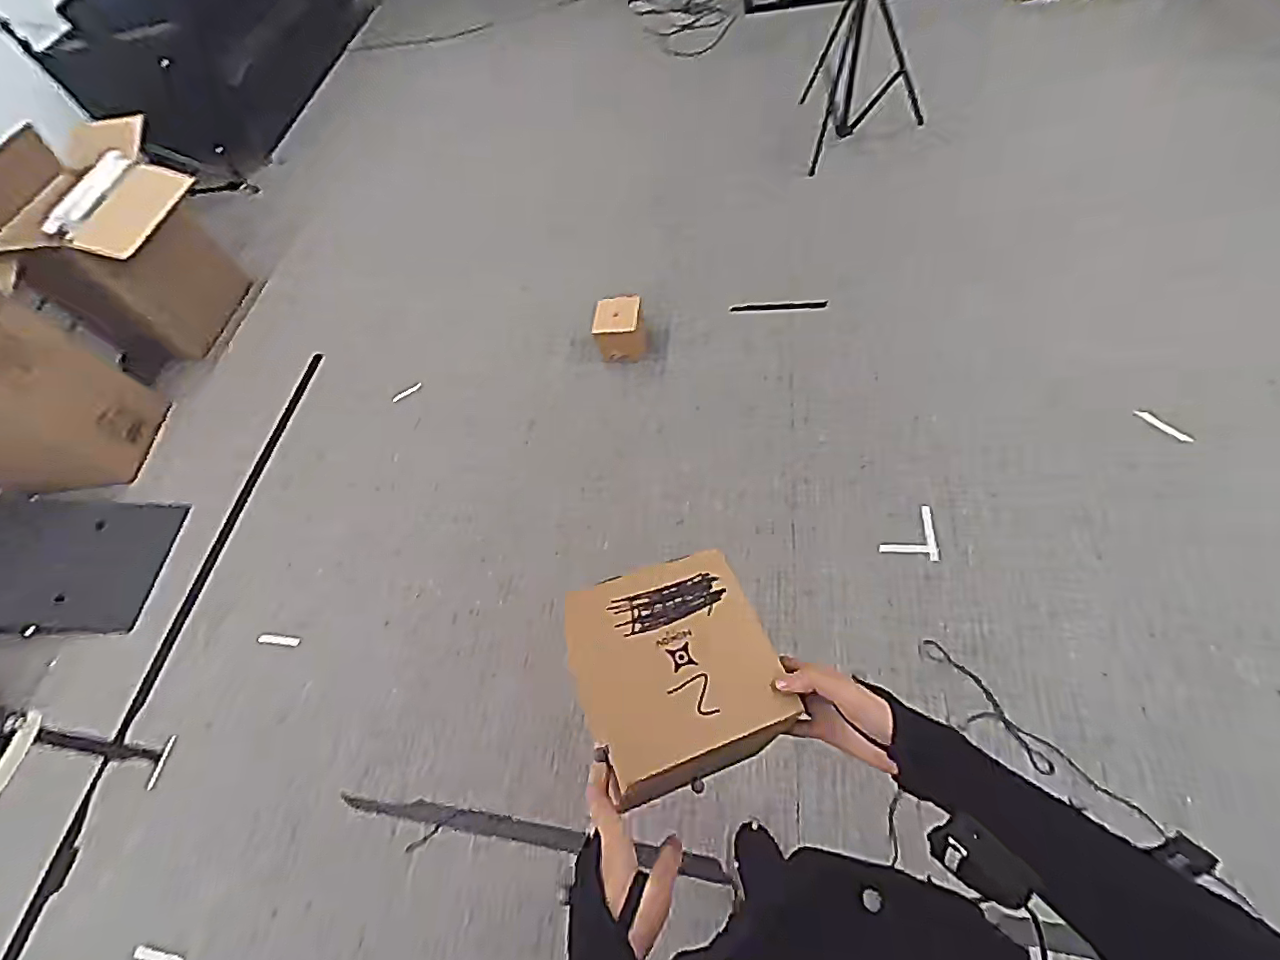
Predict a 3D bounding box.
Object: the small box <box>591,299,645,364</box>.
[{"bbox_3d":[-0.078,-0.570,2.086,0.168,0.176,0.179,0,61,12],"label":"small box"}]
